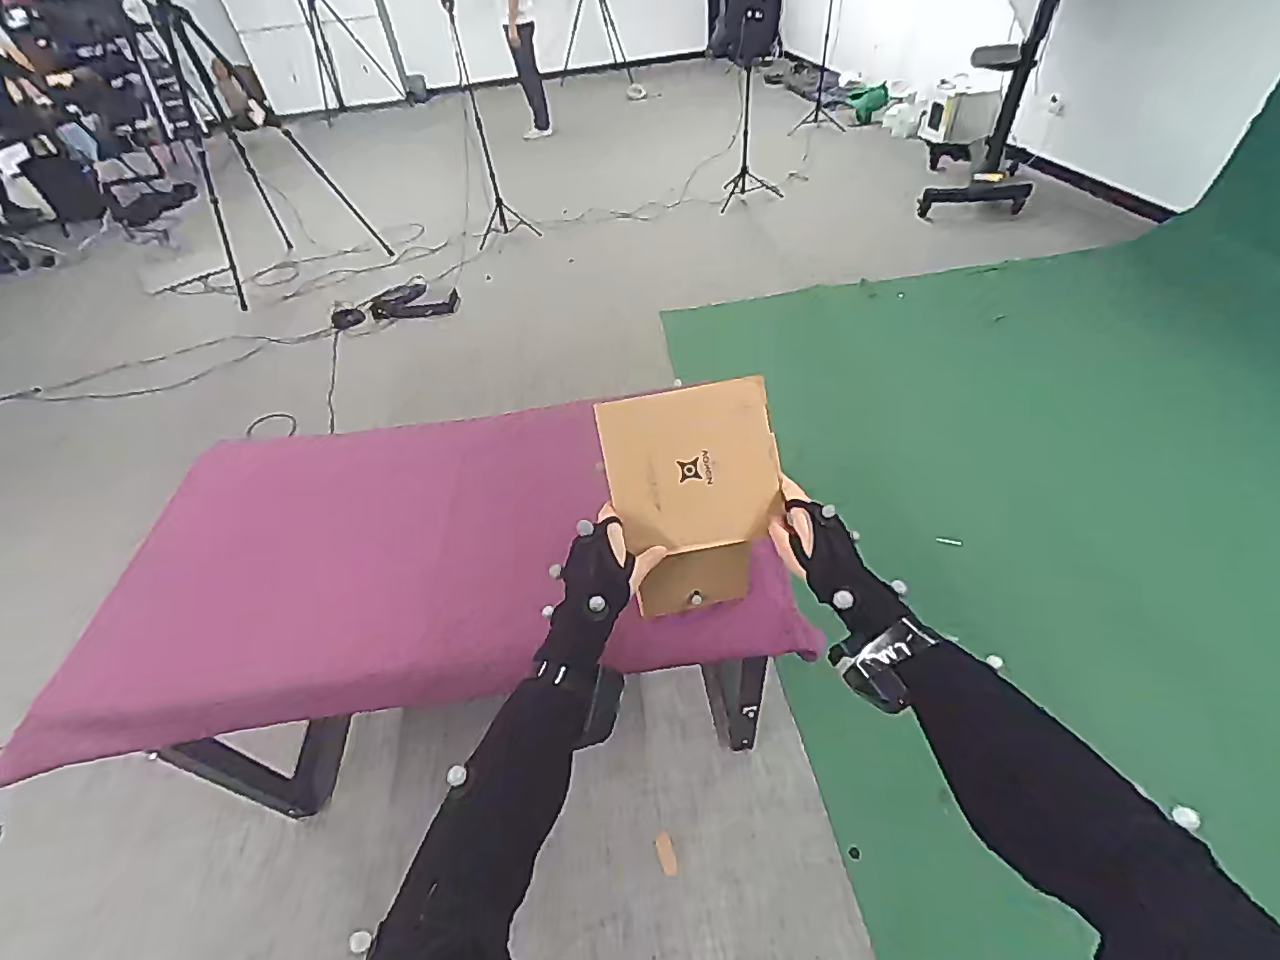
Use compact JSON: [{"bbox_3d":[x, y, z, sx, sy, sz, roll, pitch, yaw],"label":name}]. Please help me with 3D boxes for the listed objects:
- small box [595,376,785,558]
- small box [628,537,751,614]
[{"bbox_3d":[0.049,-0.017,0.627,0.179,0.168,0.176,-10,2,0],"label":"small box"},{"bbox_3d":[0.065,0.091,0.866,0.179,0.176,0.168,-12,46,-4],"label":"small box"}]
